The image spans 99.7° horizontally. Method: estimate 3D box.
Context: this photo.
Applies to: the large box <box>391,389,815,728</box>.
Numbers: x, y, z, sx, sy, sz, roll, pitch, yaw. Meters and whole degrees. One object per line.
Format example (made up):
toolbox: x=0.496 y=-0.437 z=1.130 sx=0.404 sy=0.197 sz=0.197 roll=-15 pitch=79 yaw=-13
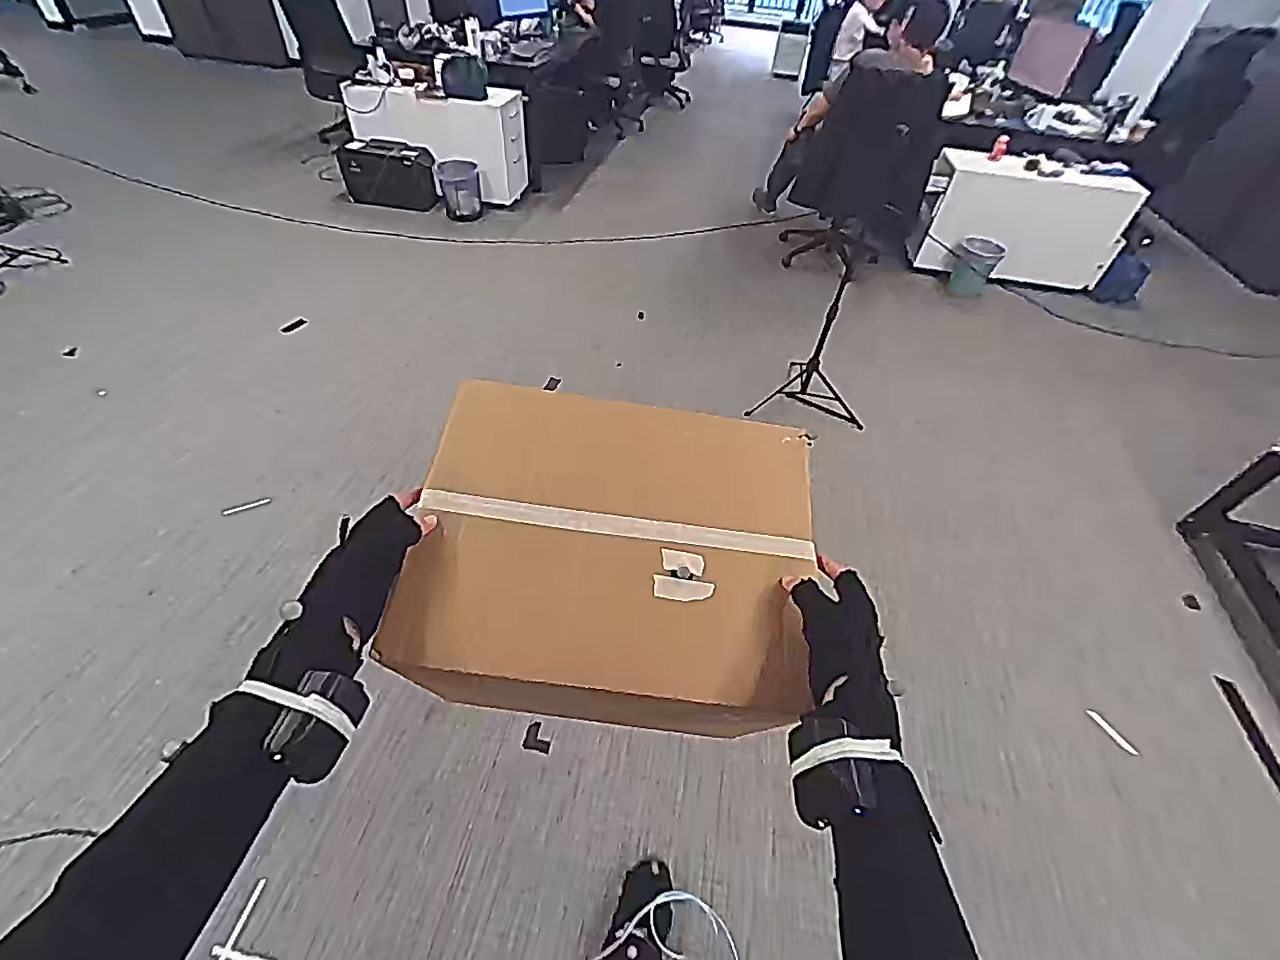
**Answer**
large box: x=-0.036 y=0.121 z=0.698 sx=0.408 sy=0.320 sz=0.320 roll=9 pitch=61 yaw=-3
